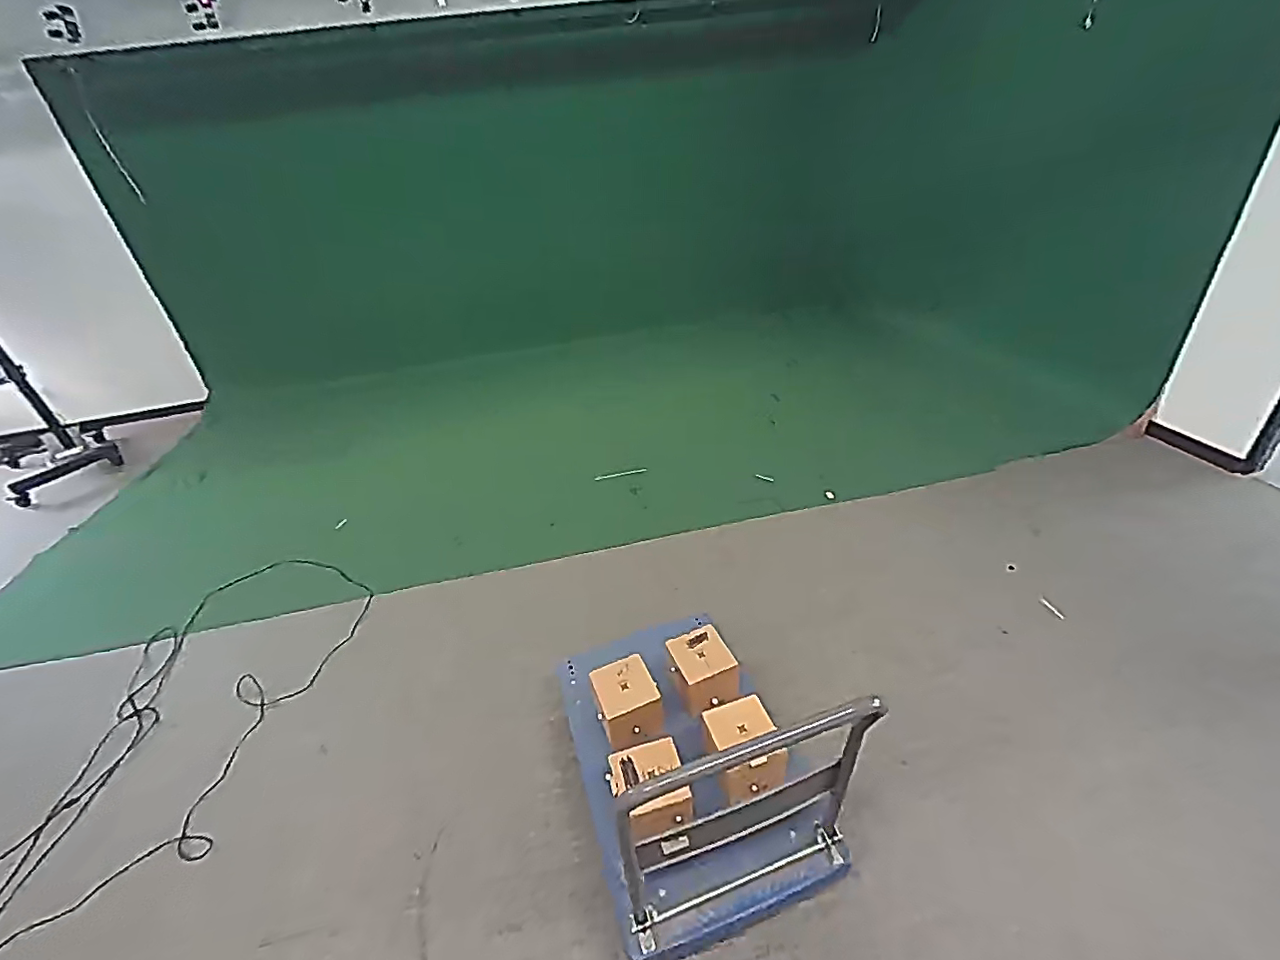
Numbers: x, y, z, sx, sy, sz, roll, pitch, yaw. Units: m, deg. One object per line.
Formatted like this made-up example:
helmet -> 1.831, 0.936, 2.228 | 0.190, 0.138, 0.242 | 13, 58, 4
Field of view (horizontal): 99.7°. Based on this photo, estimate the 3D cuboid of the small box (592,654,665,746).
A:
small box -> -0.034, 0.668, 1.630 | 0.168, 0.176, 0.179 | -16, 34, -16

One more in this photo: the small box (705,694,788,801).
small box -> 0.284, 0.729, 1.478 | 0.168, 0.176, 0.179 | -14, 34, -12

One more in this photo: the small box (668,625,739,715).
small box -> 0.198, 0.595, 1.697 | 0.168, 0.176, 0.179 | -18, 35, -14
